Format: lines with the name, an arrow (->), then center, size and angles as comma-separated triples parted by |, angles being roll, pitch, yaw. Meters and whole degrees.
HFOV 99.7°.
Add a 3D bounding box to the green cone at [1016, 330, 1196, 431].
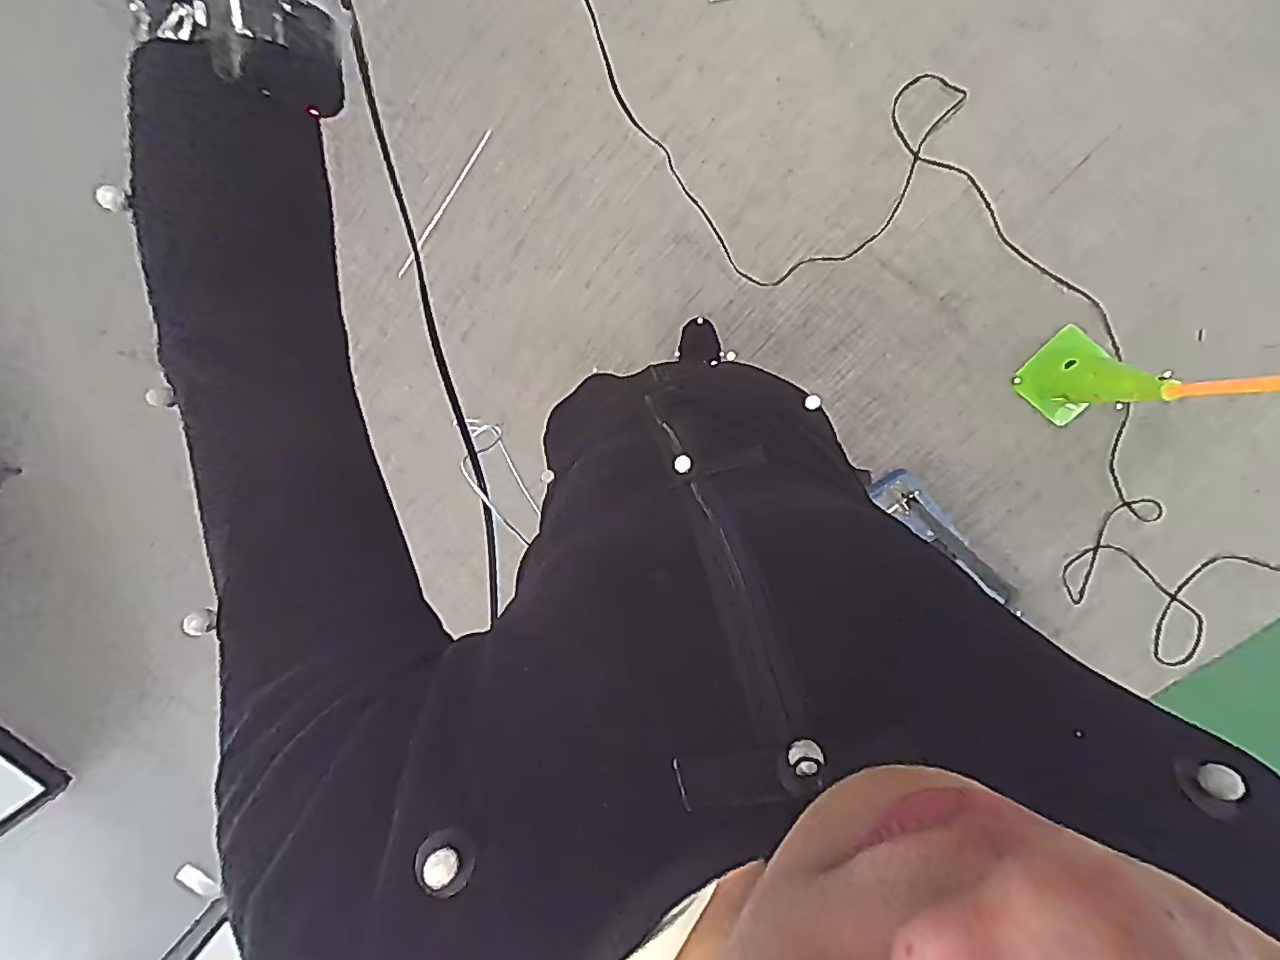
green cone -> 1.089, -0.211, 1.232 | 0.200, 0.368, 0.202 | 38, 106, -4
